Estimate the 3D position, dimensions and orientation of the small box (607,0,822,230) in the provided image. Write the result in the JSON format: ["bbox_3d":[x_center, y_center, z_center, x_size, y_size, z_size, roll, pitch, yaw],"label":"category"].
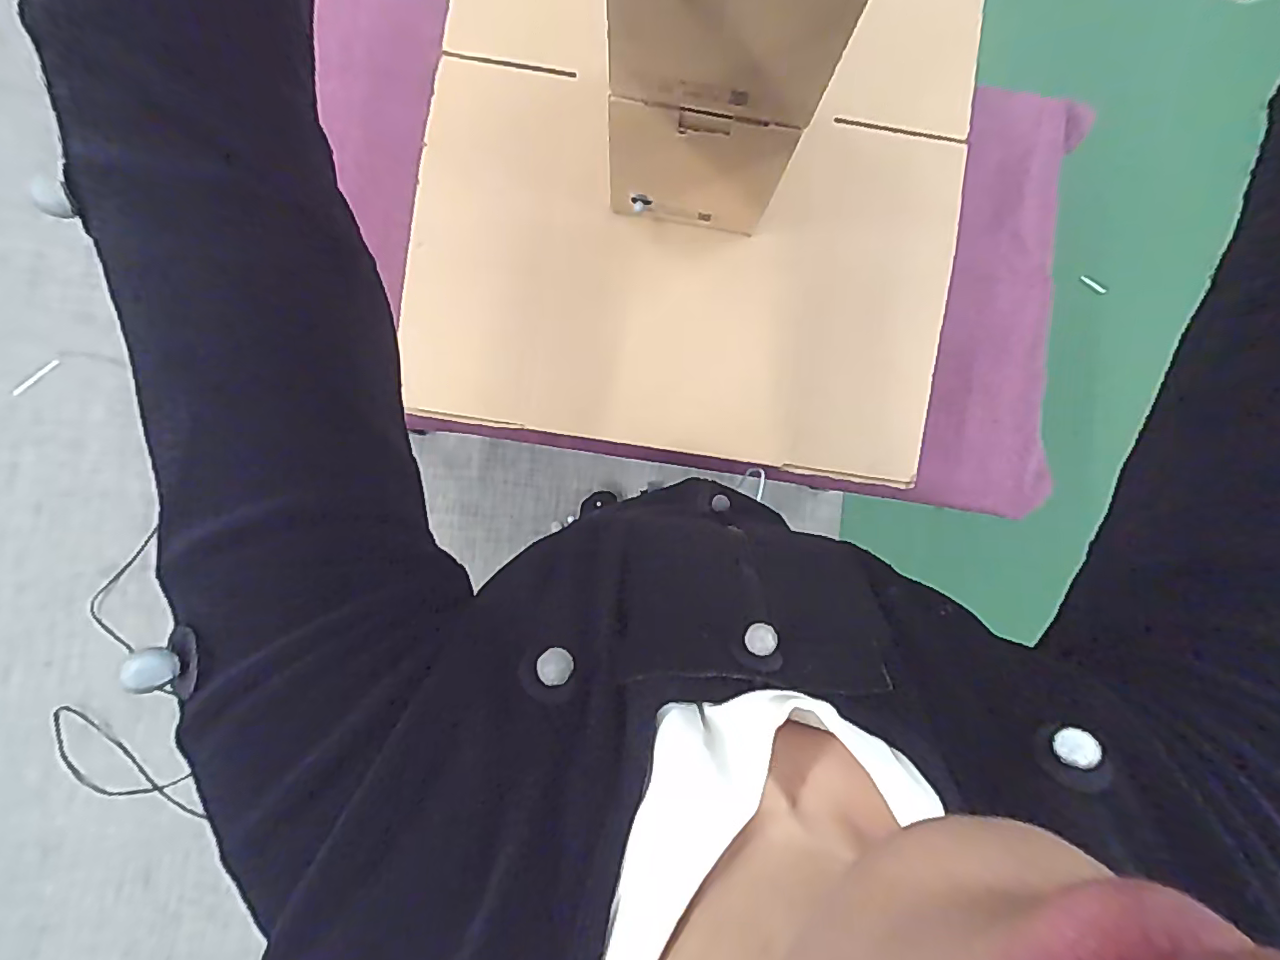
[{"bbox_3d":[0.065,-0.376,0.530,0.168,0.176,0.179,9,85,-1],"label":"small box"}]
